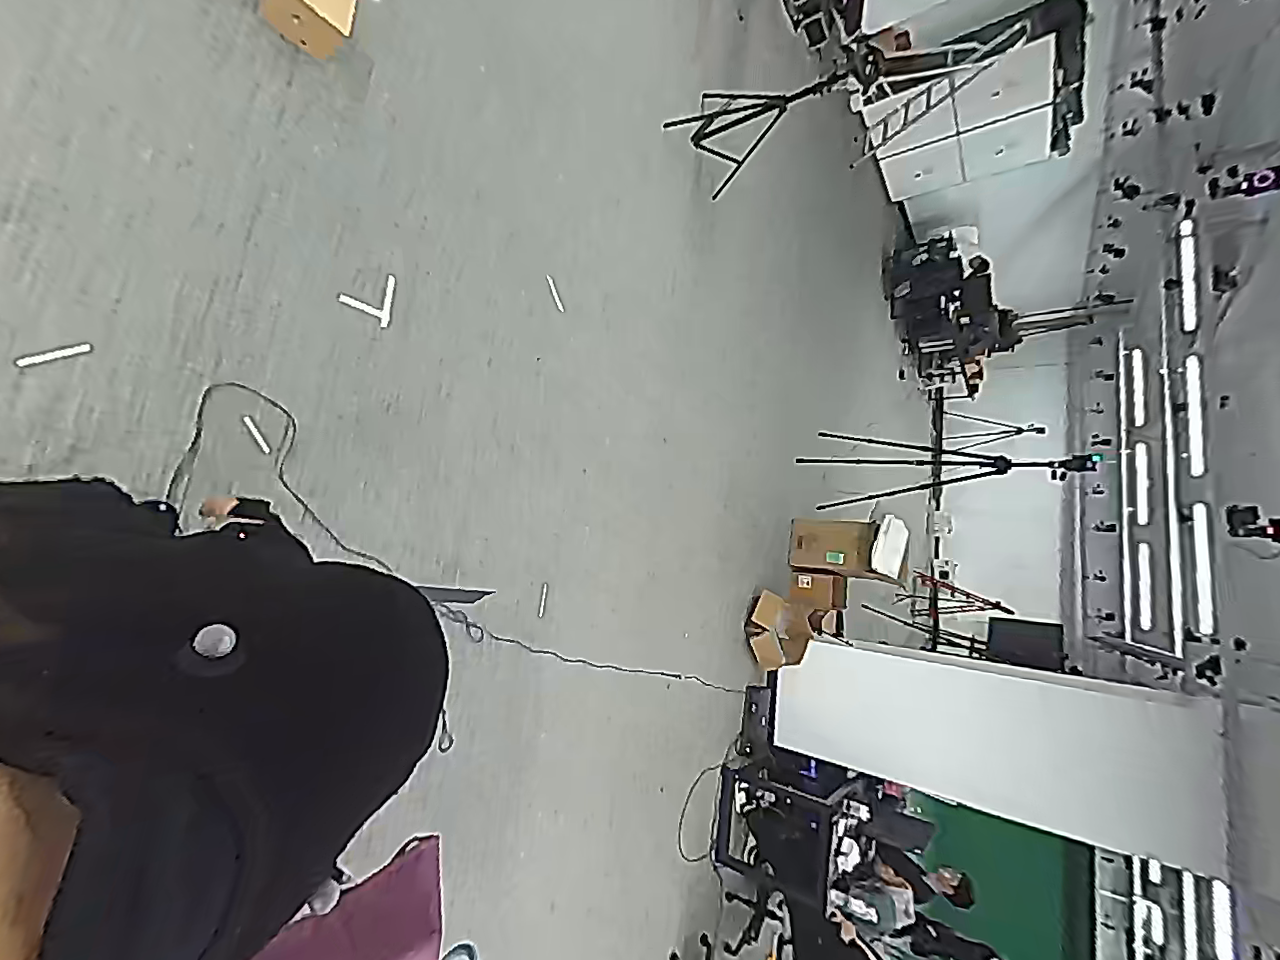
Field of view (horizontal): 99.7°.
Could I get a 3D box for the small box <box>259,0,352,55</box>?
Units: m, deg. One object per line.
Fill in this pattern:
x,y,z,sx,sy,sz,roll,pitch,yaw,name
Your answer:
-0.907,-1.323,1.471,0.168,0.176,0.179,16,76,-52,small box
